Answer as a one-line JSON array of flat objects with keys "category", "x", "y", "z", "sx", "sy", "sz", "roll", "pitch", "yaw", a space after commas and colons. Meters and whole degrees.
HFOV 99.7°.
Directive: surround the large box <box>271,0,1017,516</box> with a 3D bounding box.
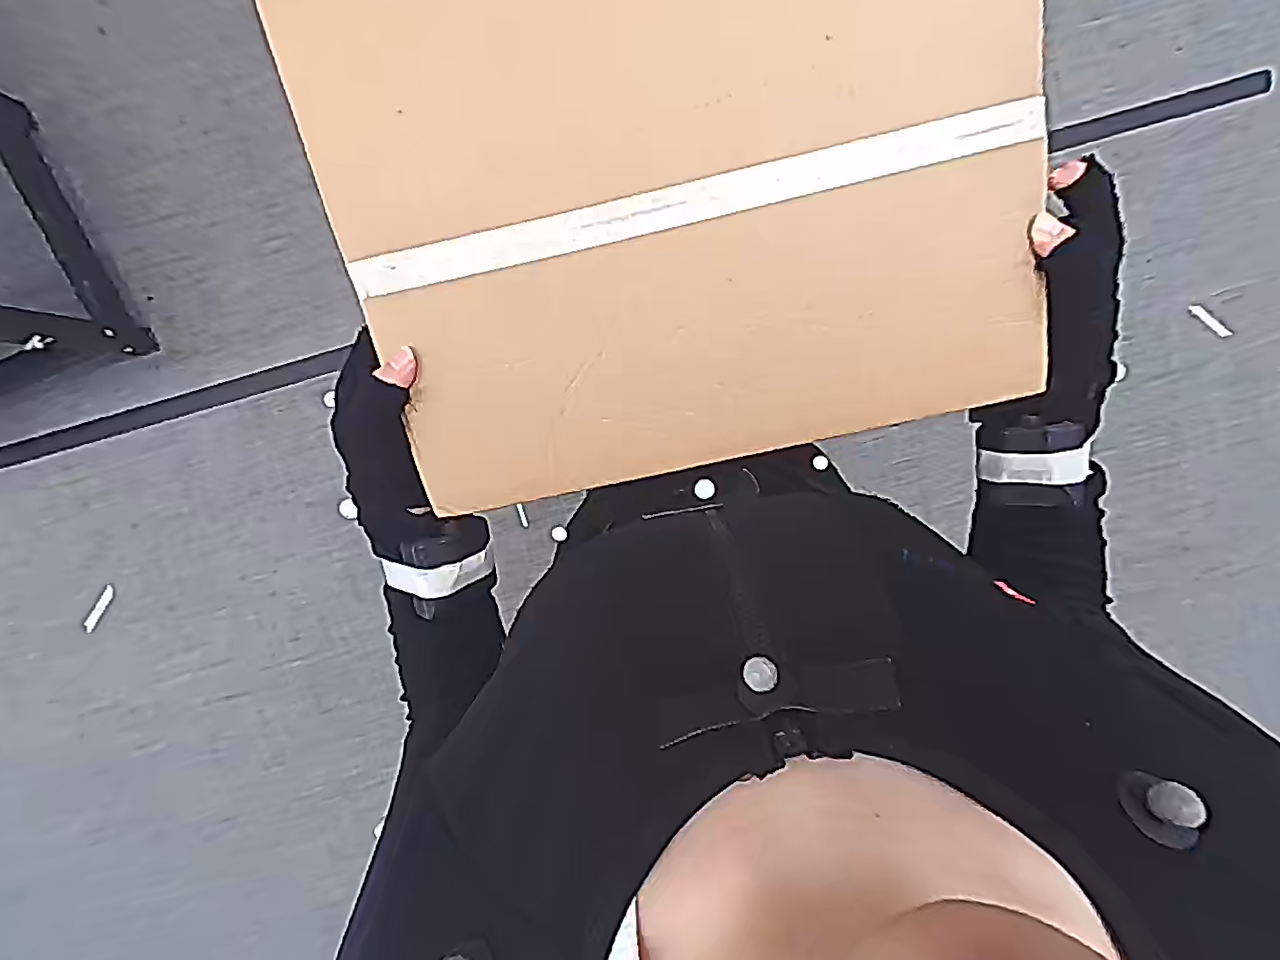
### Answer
[{"category": "large box", "x": 0.023, "y": -0.204, "z": 0.466, "sx": 0.408, "sy": 0.320, "sz": 0.320, "roll": -12, "pitch": 106, "yaw": 3}]
